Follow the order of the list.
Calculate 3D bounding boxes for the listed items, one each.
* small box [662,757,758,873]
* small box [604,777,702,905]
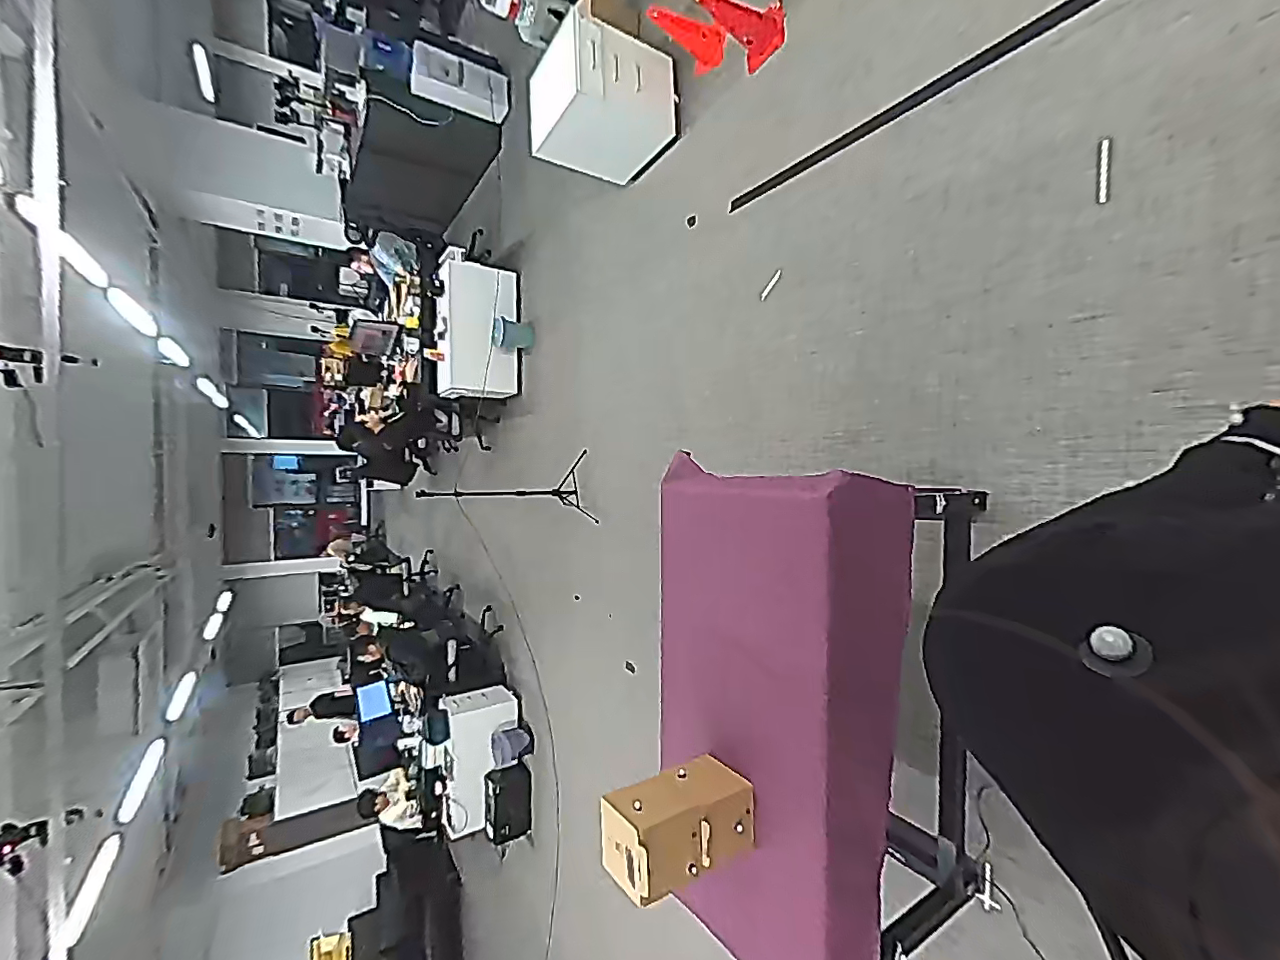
[{"bbox_3d":[0.171,0.821,1.351,0.179,0.176,0.168,2,93,57],"label":"small box"},{"bbox_3d":[0.033,0.826,1.262,0.179,0.176,0.168,-6,86,58],"label":"small box"}]
